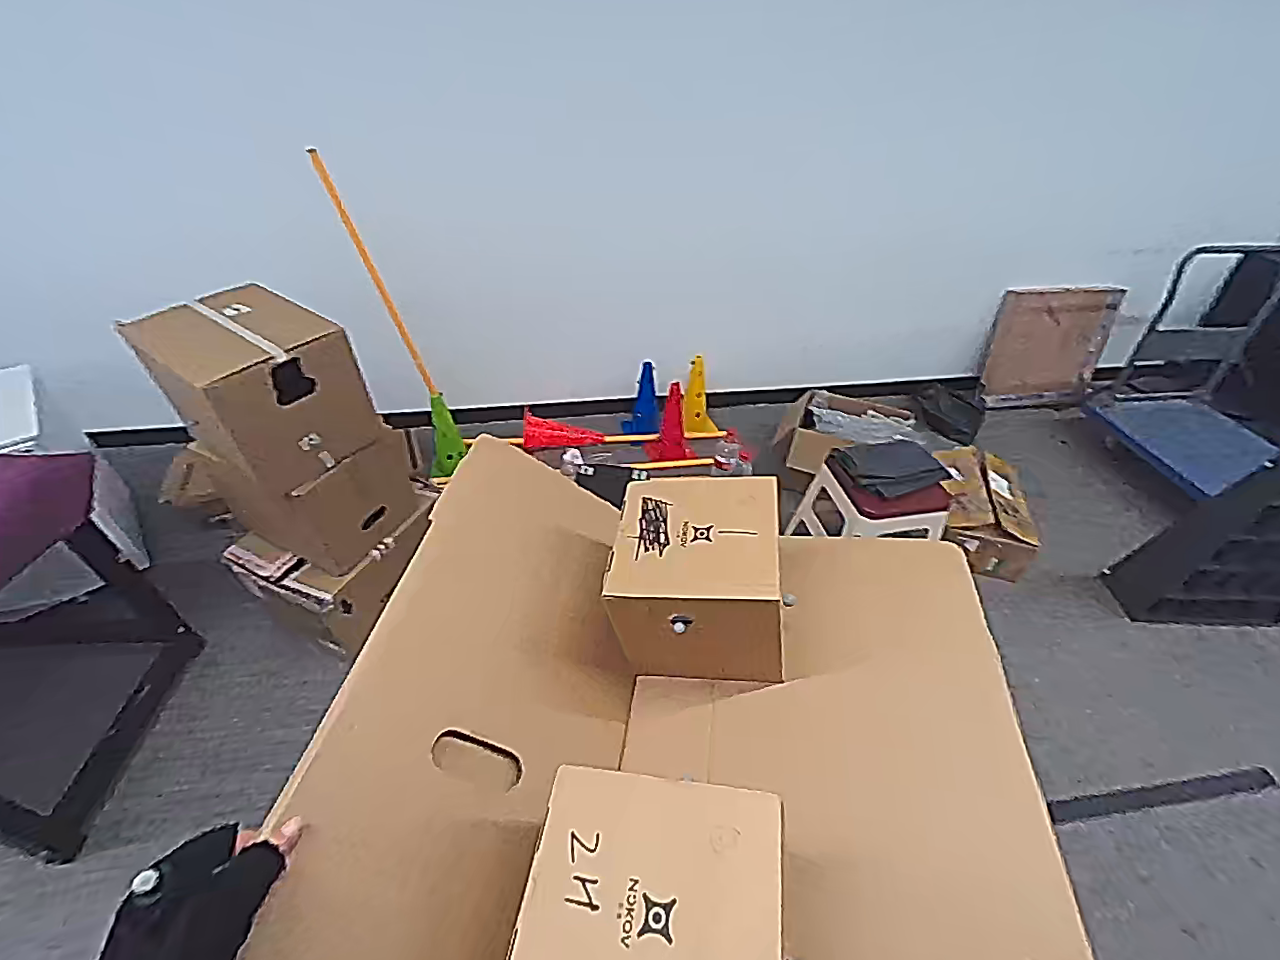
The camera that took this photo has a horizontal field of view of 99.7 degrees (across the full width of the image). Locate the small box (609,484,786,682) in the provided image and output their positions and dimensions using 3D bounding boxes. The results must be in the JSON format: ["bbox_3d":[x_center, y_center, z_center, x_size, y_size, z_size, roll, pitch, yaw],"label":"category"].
[{"bbox_3d":[0.080,0.121,0.638,0.179,0.176,0.168,-1,44,15],"label":"small box"}]

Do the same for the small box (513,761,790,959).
[{"bbox_3d":[0.023,0.345,0.417,0.179,0.176,0.168,0,44,17],"label":"small box"}]
